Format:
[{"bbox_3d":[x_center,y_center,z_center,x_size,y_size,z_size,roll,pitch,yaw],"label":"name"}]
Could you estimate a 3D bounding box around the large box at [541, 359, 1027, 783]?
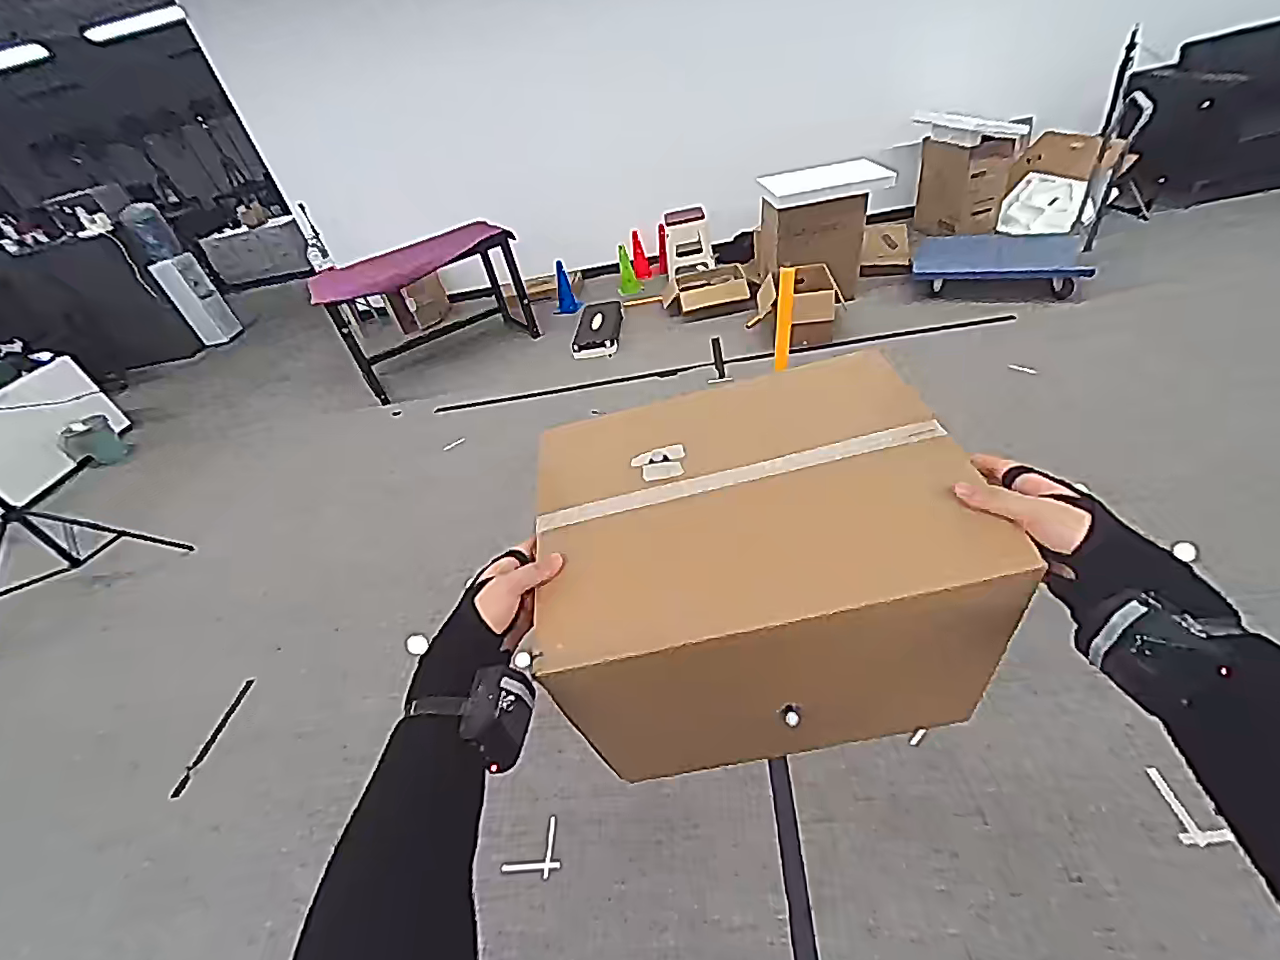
[{"bbox_3d":[0.130,0.116,0.639,0.408,0.320,0.320,-15,43,6],"label":"large box"}]
